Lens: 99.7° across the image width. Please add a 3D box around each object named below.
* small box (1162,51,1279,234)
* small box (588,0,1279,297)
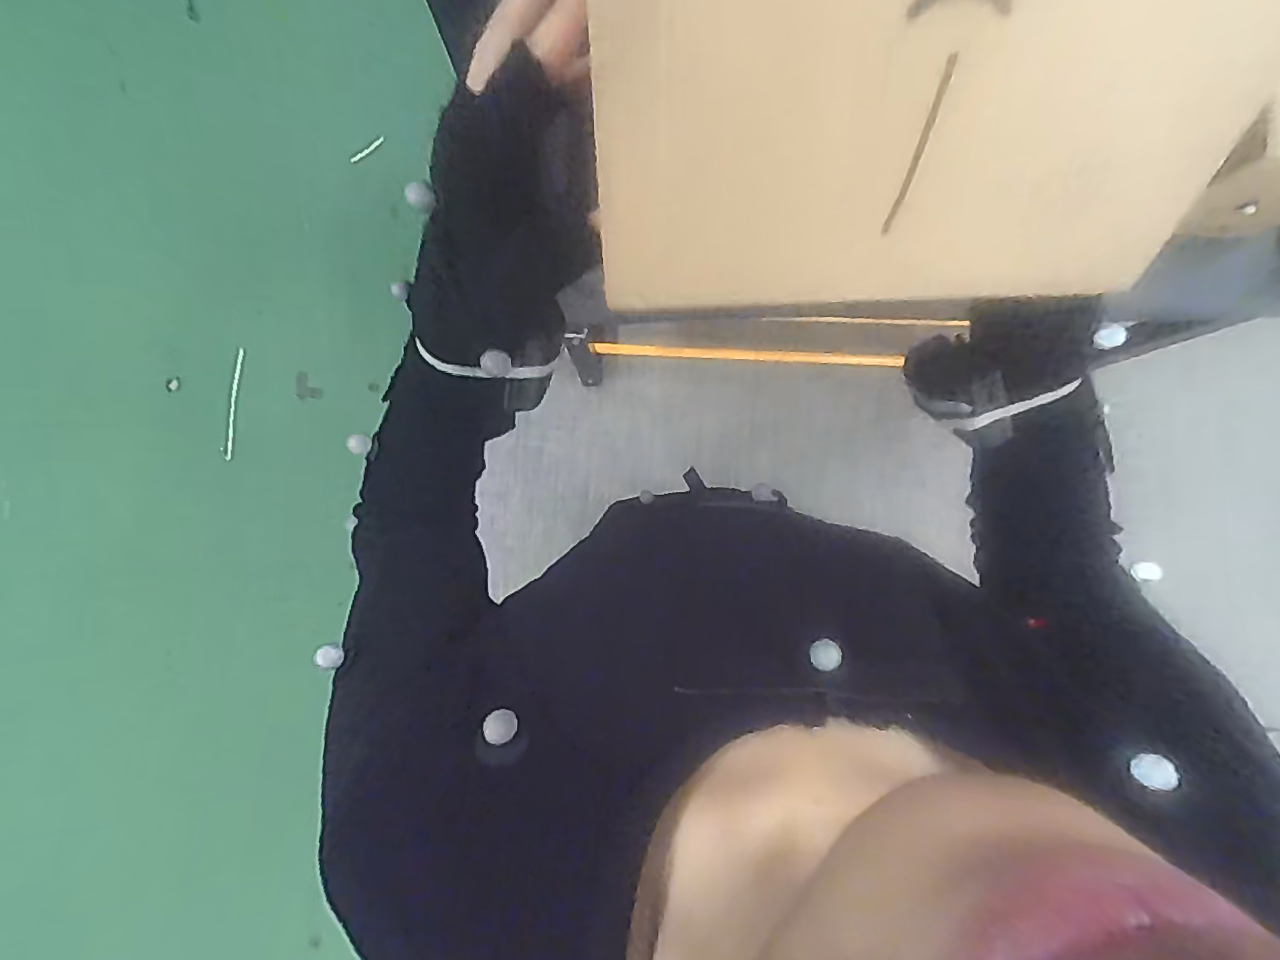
[{"bbox_3d":[0.824,-0.455,0.722,0.168,0.176,0.179,5,85,0],"label":"small box"},{"bbox_3d":[0.066,-0.177,0.162,0.168,0.179,0.176,-2,47,-1],"label":"small box"}]
